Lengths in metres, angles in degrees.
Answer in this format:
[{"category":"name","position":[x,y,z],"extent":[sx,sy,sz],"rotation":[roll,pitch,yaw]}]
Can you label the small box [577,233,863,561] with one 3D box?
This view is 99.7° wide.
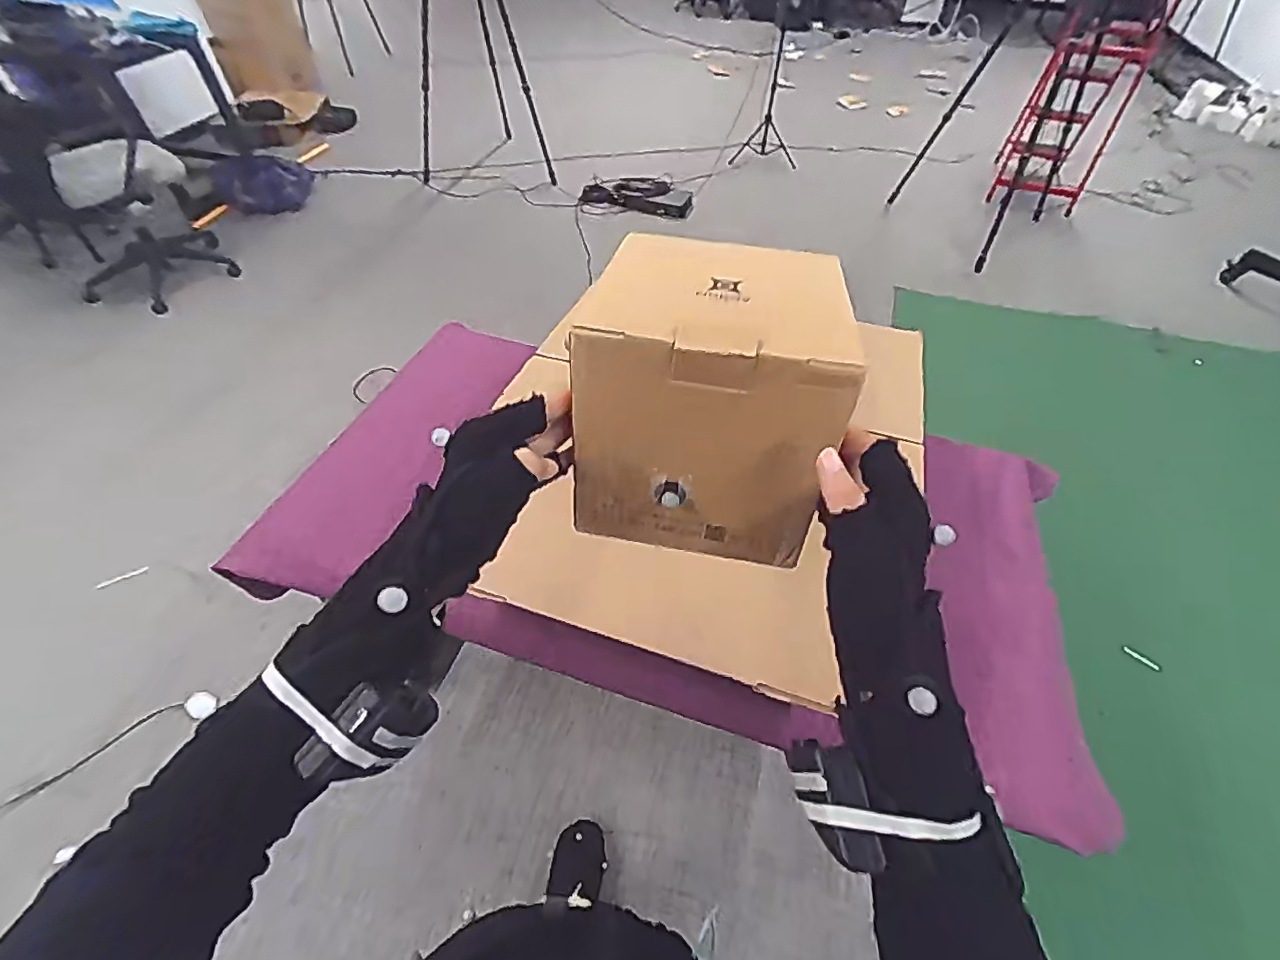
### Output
[{"category":"small box","position":[0.052,-0.067,0.415],"extent":[0.168,0.176,0.179],"rotation":[9,43,6]}]
